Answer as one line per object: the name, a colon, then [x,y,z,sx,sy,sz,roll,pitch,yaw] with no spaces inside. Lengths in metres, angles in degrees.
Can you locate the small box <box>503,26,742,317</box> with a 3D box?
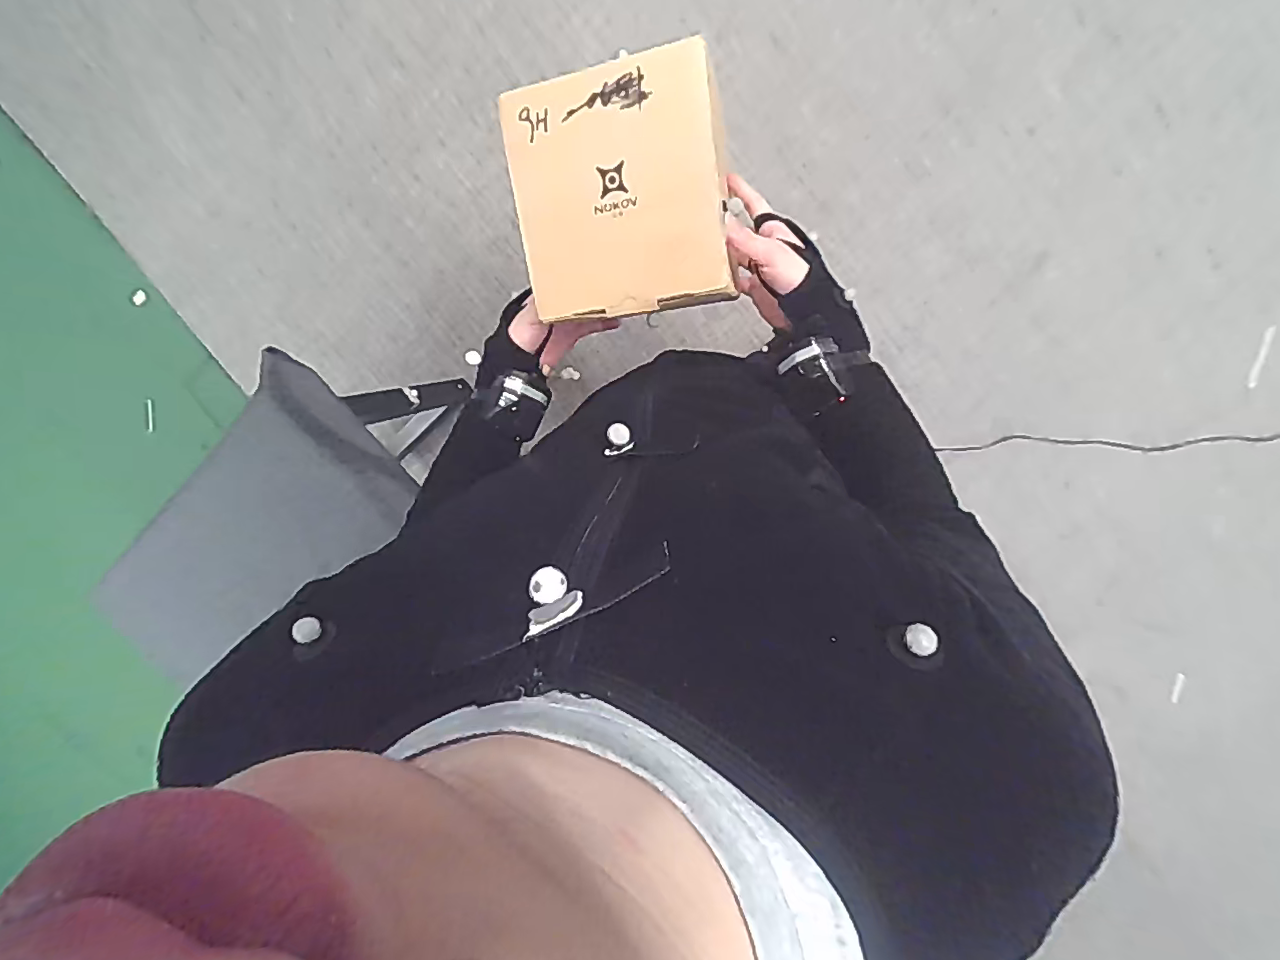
small box: [0.002,-0.252,0.491,0.168,0.176,0.179,-6,106,13]
